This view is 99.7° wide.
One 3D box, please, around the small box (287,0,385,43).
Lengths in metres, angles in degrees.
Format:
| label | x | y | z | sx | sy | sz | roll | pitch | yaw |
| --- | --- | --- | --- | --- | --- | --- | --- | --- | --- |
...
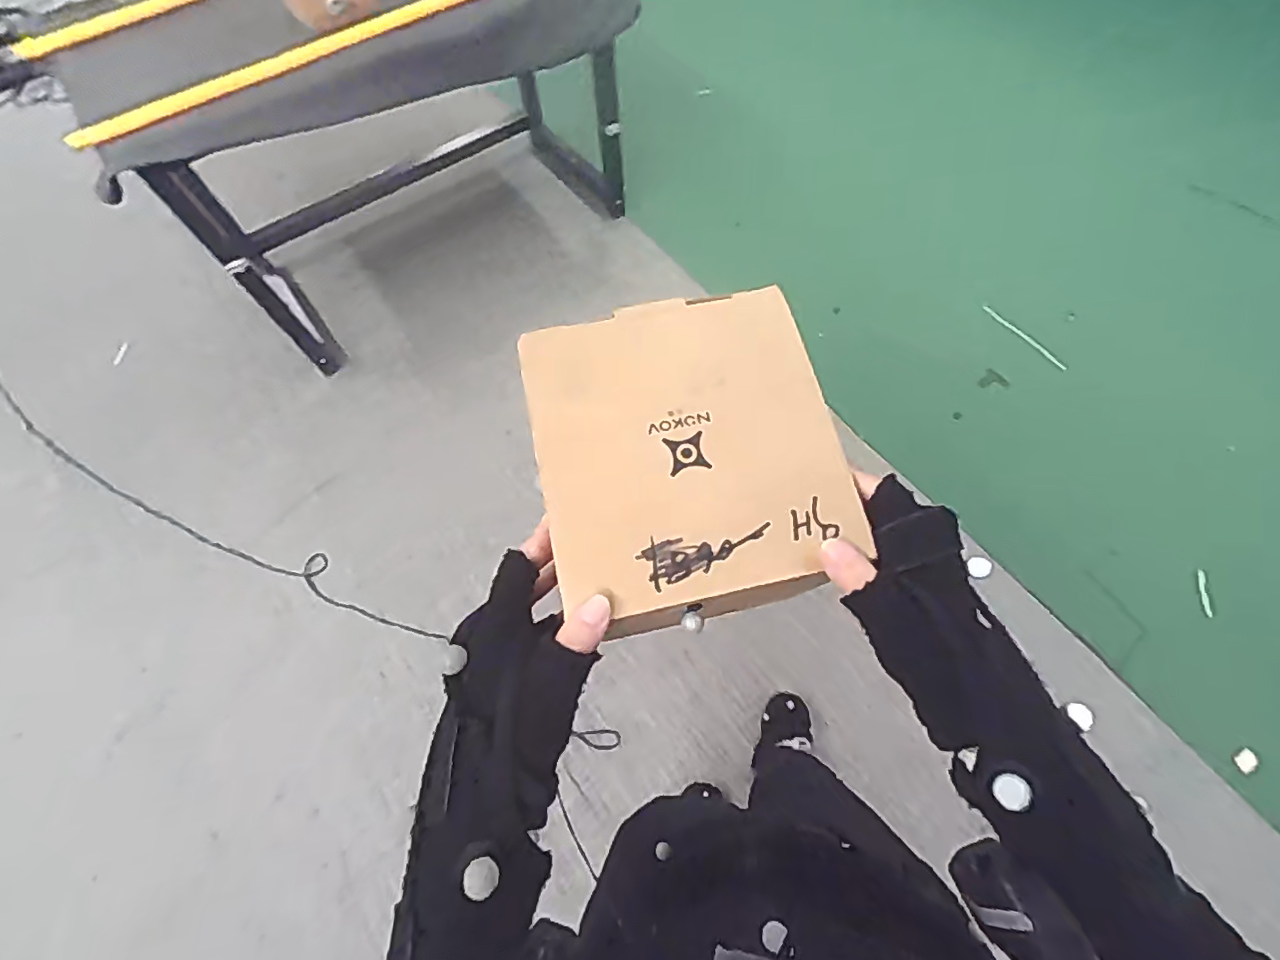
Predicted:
| label | x | y | z | sx | sy | sz | roll | pitch | yaw |
| --- | --- | --- | --- | --- | --- | --- | --- | --- | --- |
| small box | -0.707 | -1.120 | 1.198 | 0.168 | 0.176 | 0.179 | -37 | 69 | -13 |

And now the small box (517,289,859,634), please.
| label | x | y | z | sx | sy | sz | roll | pitch | yaw |
| --- | --- | --- | --- | --- | --- | --- | --- | --- | --- |
| small box | 0.021 | 0.001 | 0.386 | 0.168 | 0.176 | 0.179 | -13 | 71 | -3 |
